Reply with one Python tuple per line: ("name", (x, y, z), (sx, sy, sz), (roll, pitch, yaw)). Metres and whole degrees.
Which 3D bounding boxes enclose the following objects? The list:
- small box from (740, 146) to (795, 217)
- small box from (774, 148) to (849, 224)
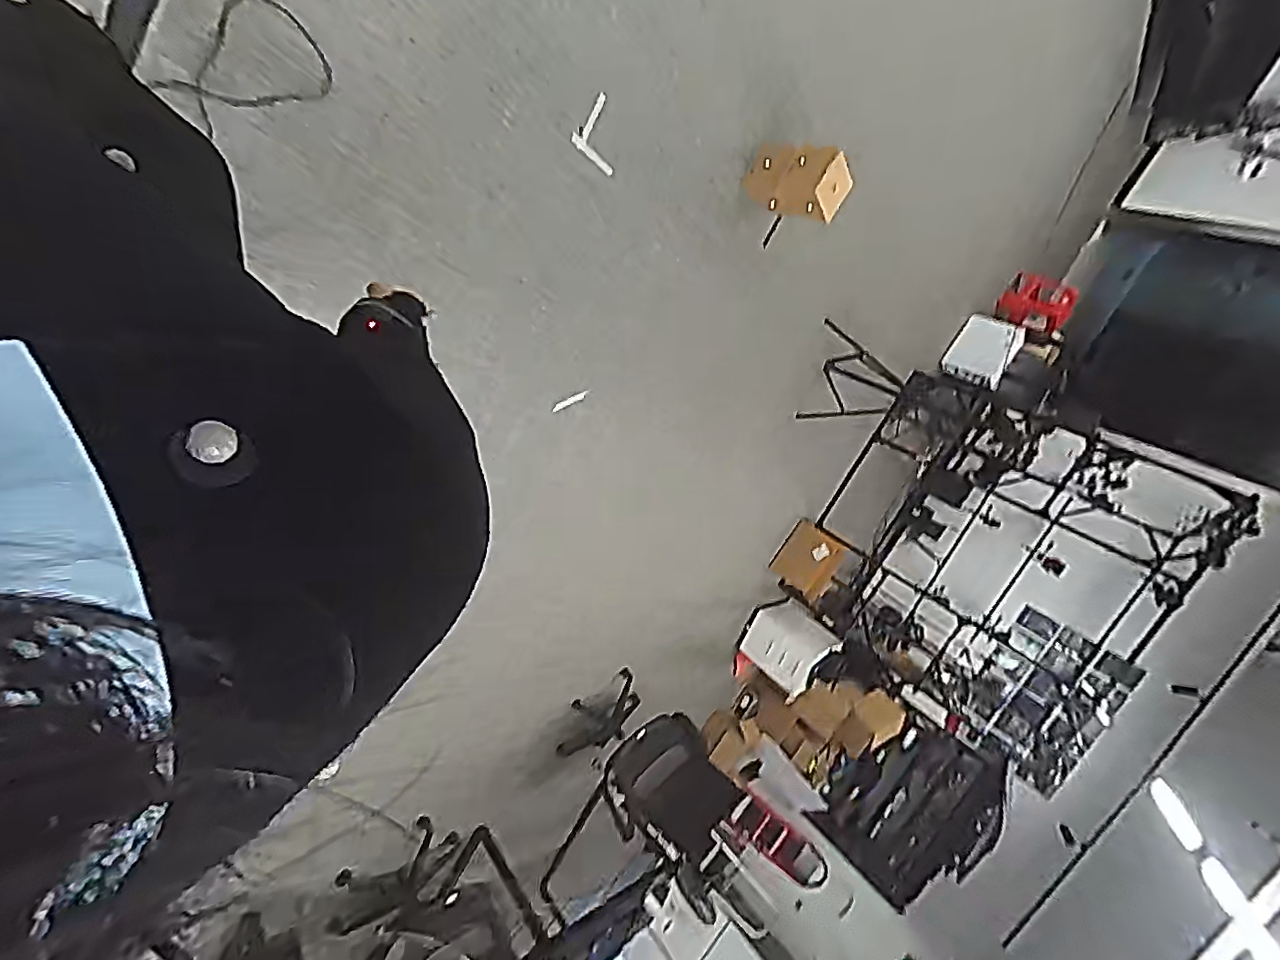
("small box", (0.507, -1.132, 2.044), (0.179, 0.176, 0.168), (16, 106, -53))
("small box", (0.615, -1.061, 1.944), (0.168, 0.176, 0.179), (-57, 143, 4))
